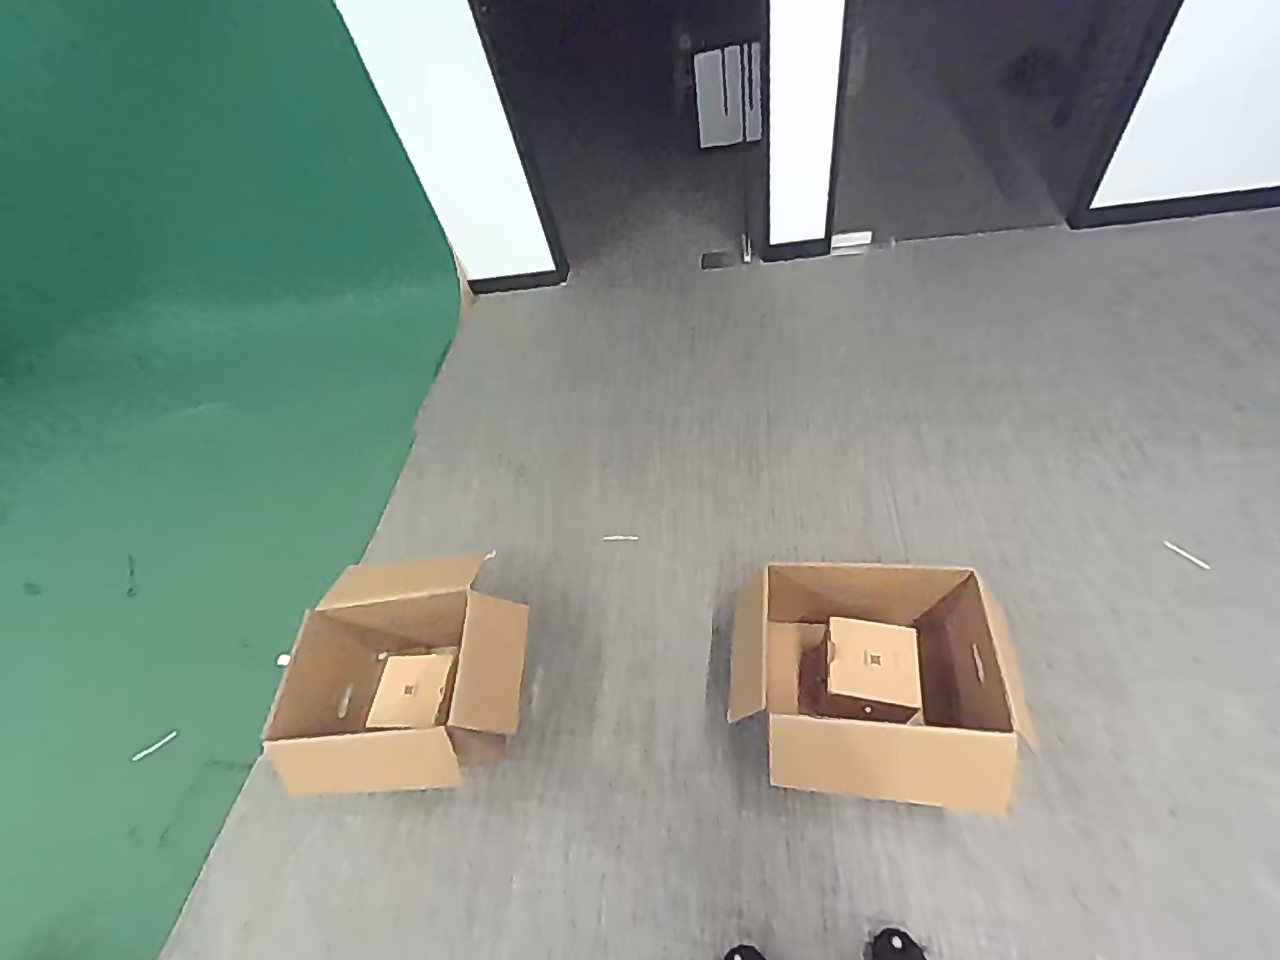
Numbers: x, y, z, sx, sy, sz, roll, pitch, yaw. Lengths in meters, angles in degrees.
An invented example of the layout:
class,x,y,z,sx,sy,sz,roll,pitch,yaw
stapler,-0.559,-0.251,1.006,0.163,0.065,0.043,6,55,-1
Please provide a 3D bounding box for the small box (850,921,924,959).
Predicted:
class,x,y,z,sx,sy,sz,roll,pitch,yaw
small box,0.396,0.857,0.830,0.179,0.168,0.176,36,96,23
